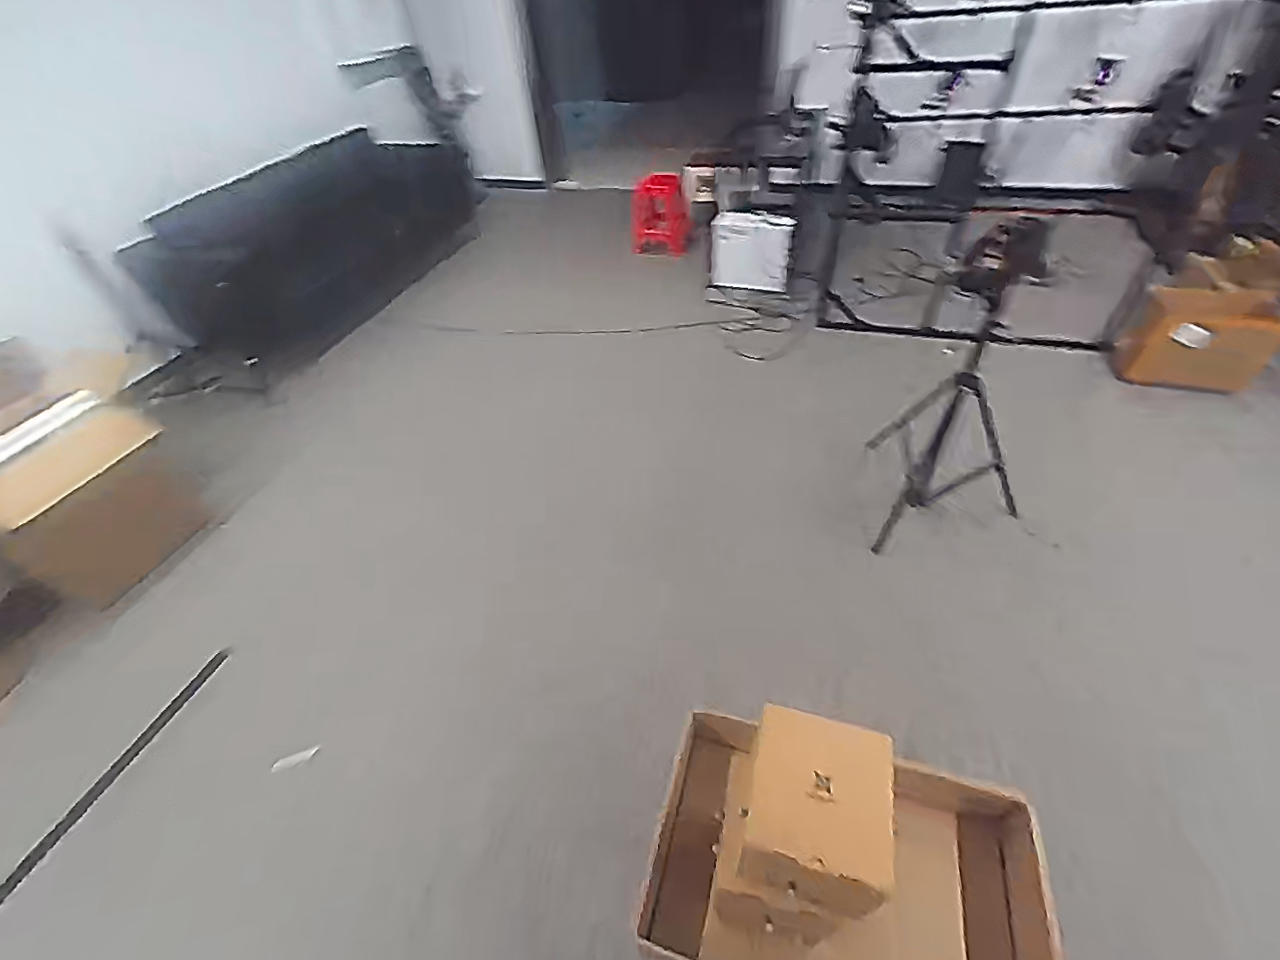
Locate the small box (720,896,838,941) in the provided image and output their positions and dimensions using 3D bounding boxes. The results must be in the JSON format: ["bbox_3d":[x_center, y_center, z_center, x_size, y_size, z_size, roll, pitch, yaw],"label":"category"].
[{"bbox_3d":[0.238,0.675,0.942,0.179,0.176,0.168,6,44,11],"label":"small box"}]

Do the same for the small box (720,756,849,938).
[{"bbox_3d":[0.216,0.560,0.827,0.168,0.176,0.179,8,45,12],"label":"small box"}]

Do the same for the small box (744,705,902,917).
[{"bbox_3d":[0.236,0.437,0.718,0.168,0.176,0.179,10,46,14],"label":"small box"}]
